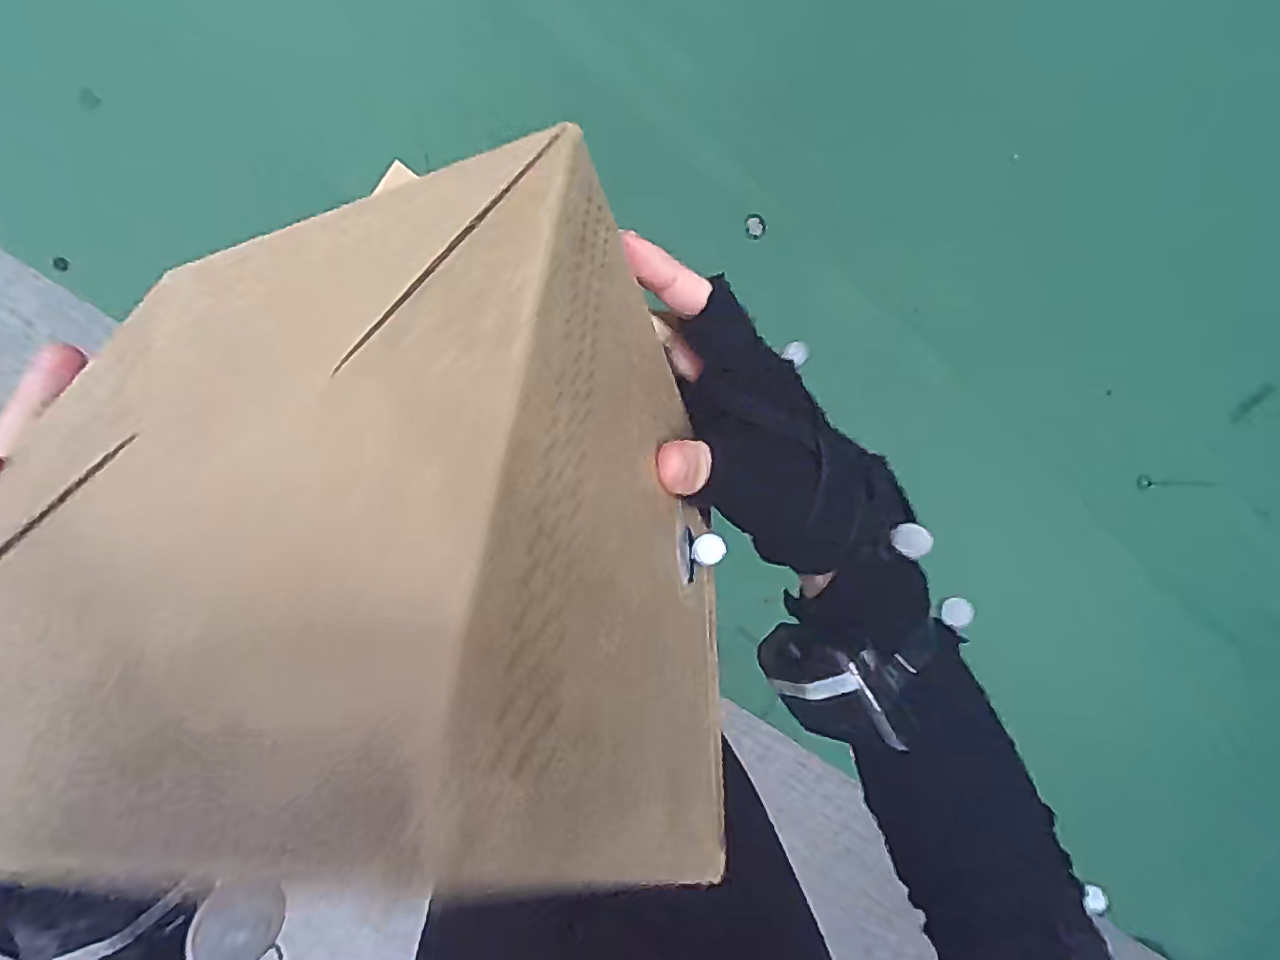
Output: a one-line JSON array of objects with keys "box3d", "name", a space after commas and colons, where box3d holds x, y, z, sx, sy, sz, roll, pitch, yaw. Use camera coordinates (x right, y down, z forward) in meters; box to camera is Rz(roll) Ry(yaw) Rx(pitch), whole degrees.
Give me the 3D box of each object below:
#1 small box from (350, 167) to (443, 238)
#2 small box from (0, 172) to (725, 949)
[{"box3d": [-0.279, -0.282, 0.753, 0.179, 0.176, 0.168, 37, 96, -13], "name": "small box"}, {"box3d": [-0.069, 0.030, 0.192, 0.168, 0.179, 0.176, -8, 145, 19], "name": "small box"}]
